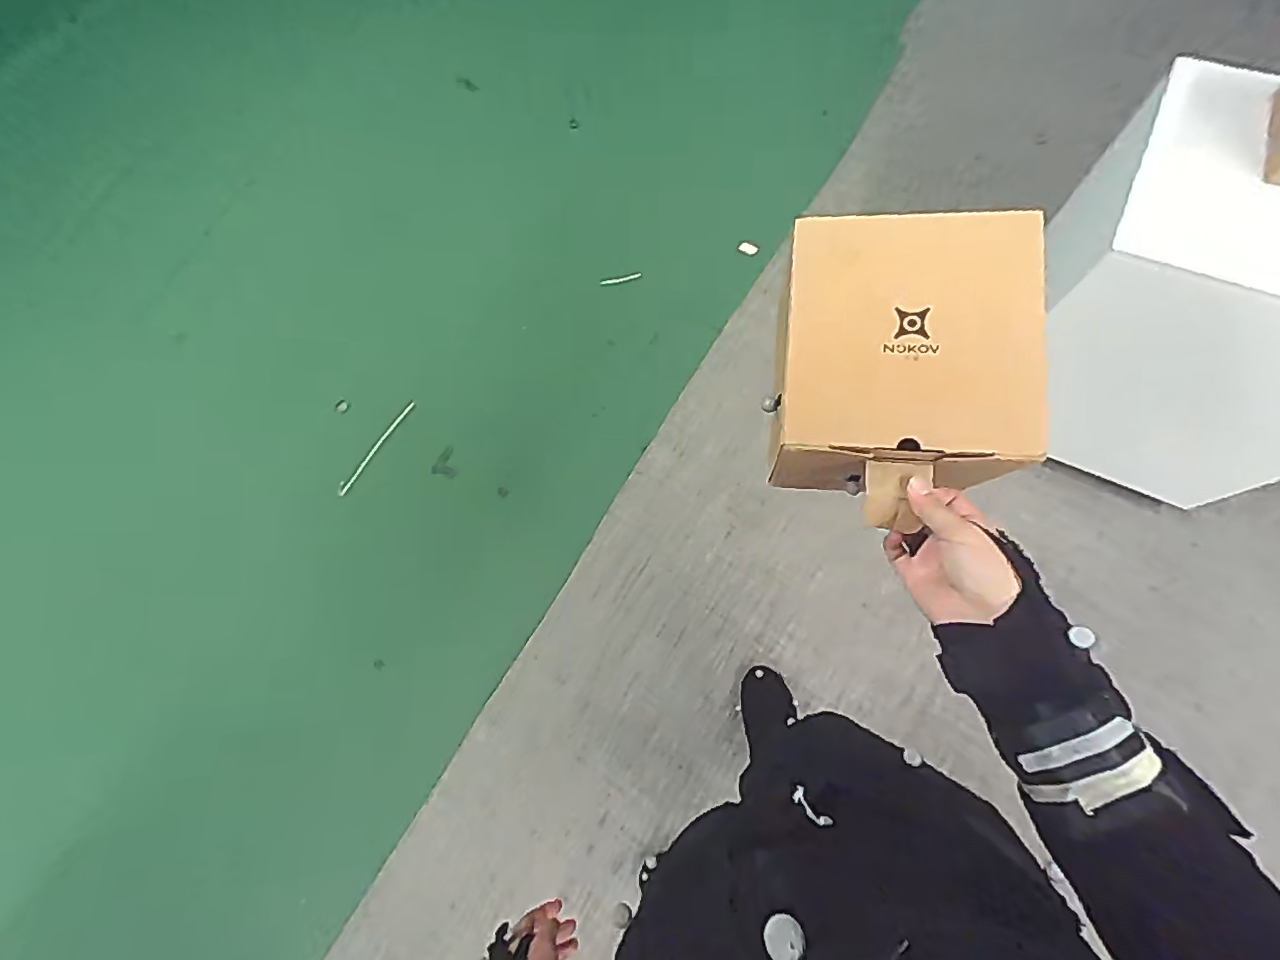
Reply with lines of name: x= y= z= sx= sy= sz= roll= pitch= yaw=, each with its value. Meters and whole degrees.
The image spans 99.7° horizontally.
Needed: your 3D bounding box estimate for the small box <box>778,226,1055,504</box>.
small box: x=0.207 y=-0.082 z=0.451 sx=0.168 sy=0.176 sz=0.179 roll=4 pitch=81 yaw=11
